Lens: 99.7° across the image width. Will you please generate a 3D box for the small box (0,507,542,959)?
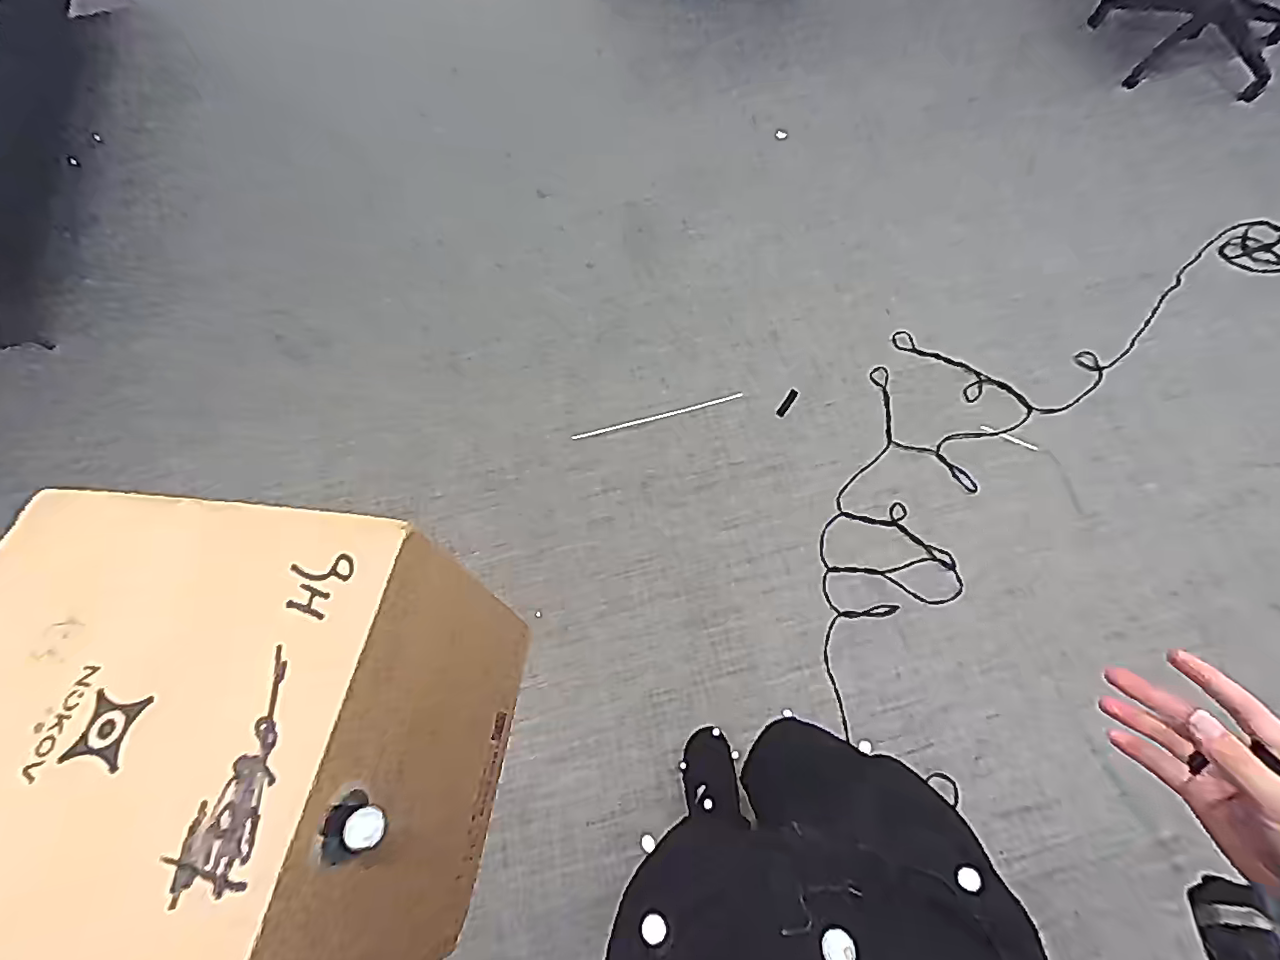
[{"bbox_3d":[-0.166,0.126,0.257,0.179,0.176,0.168,3,63,10],"label":"small box"}]
